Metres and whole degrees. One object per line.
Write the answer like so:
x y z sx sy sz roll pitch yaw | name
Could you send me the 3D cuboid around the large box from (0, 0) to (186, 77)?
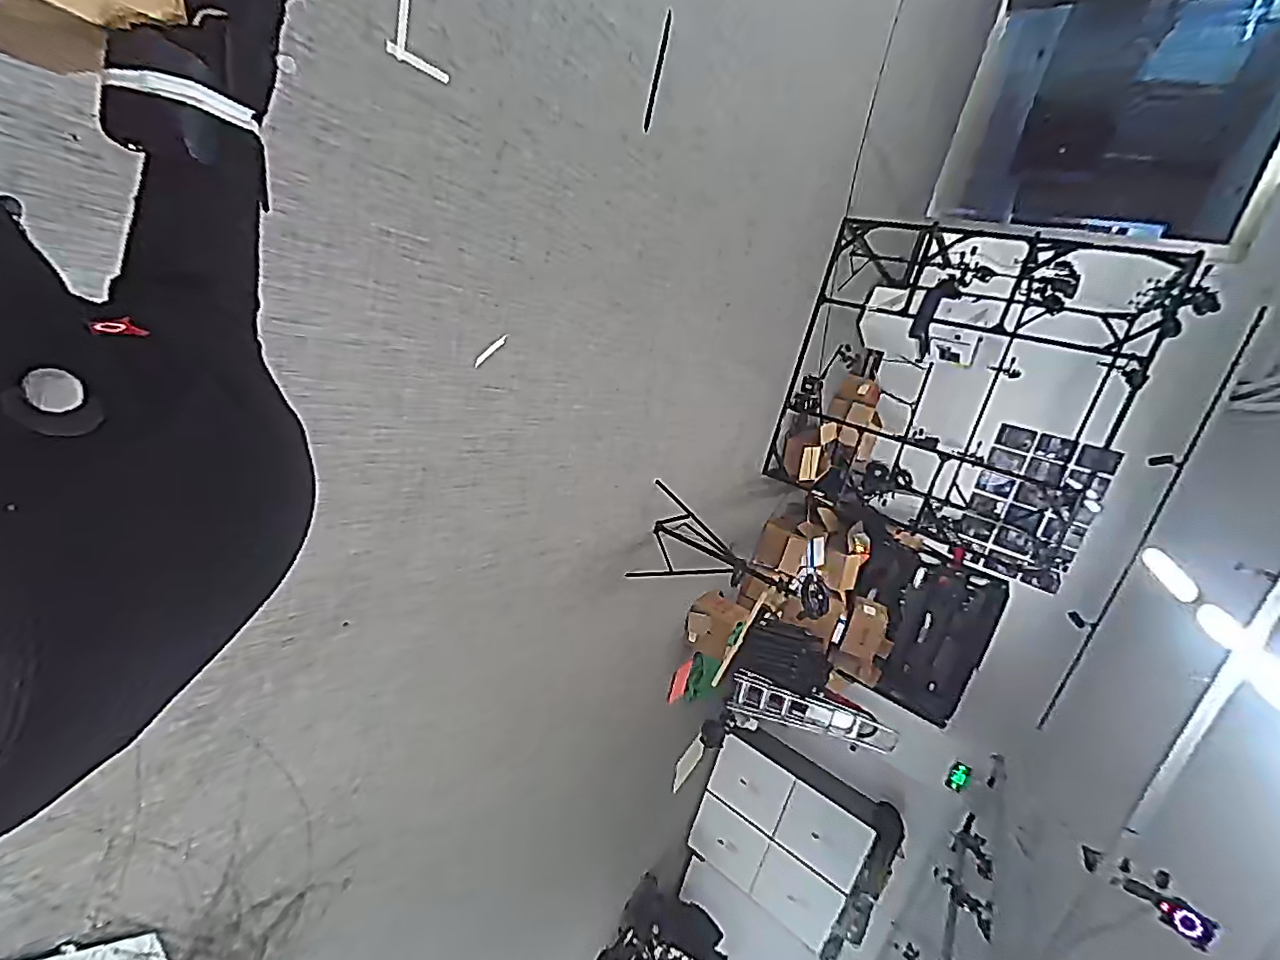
-0.505 -0.456 0.241 0.408 0.320 0.320 -7 118 -57 | large box
